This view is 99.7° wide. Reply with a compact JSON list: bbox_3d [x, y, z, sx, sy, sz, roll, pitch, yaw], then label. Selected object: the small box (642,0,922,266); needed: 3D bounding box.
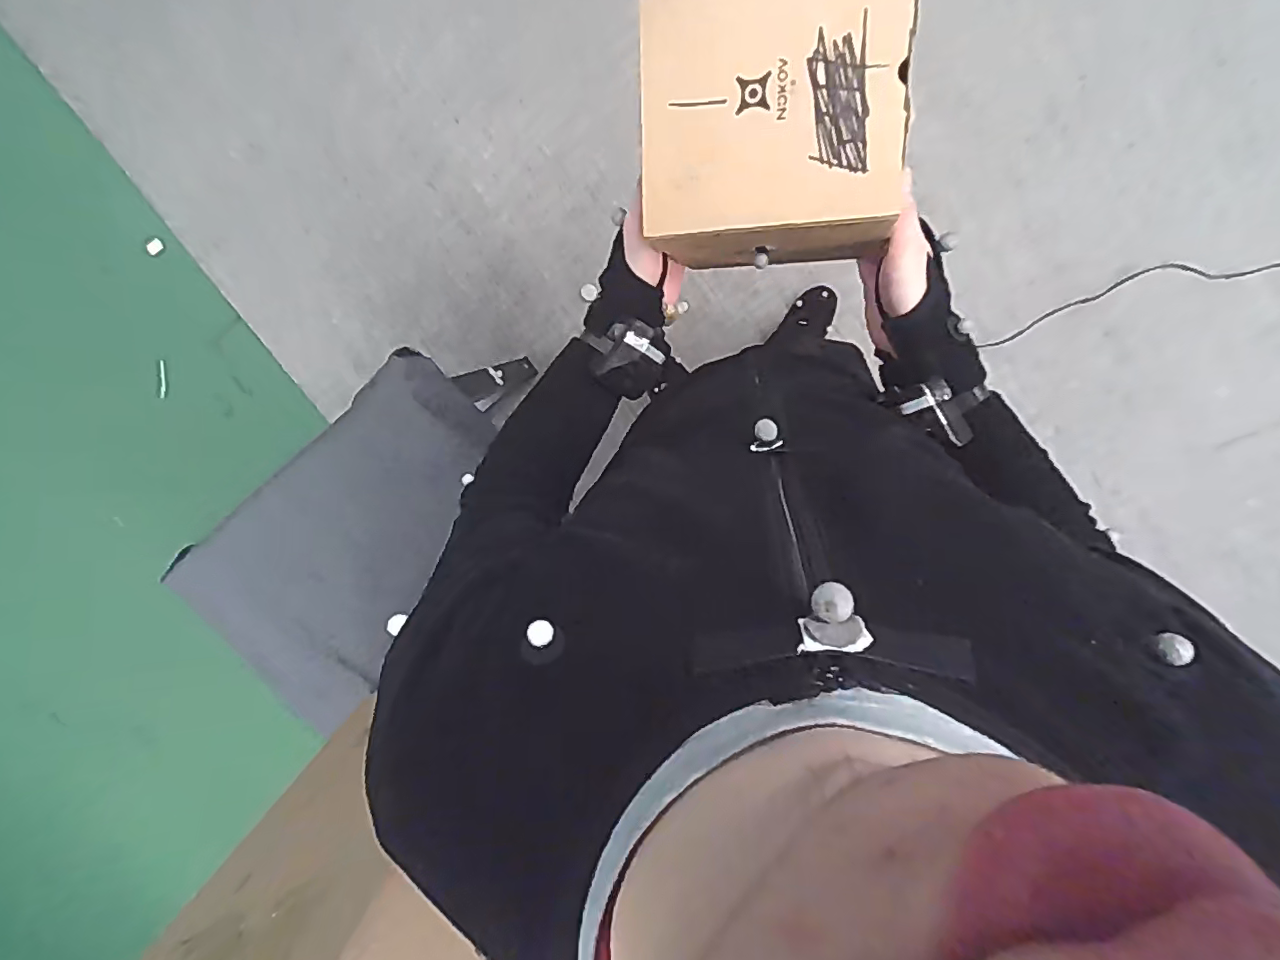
[{"bbox_3d":[0.109,-0.271,0.428,0.179,0.176,0.168,3,104,18],"label":"small box"}]
